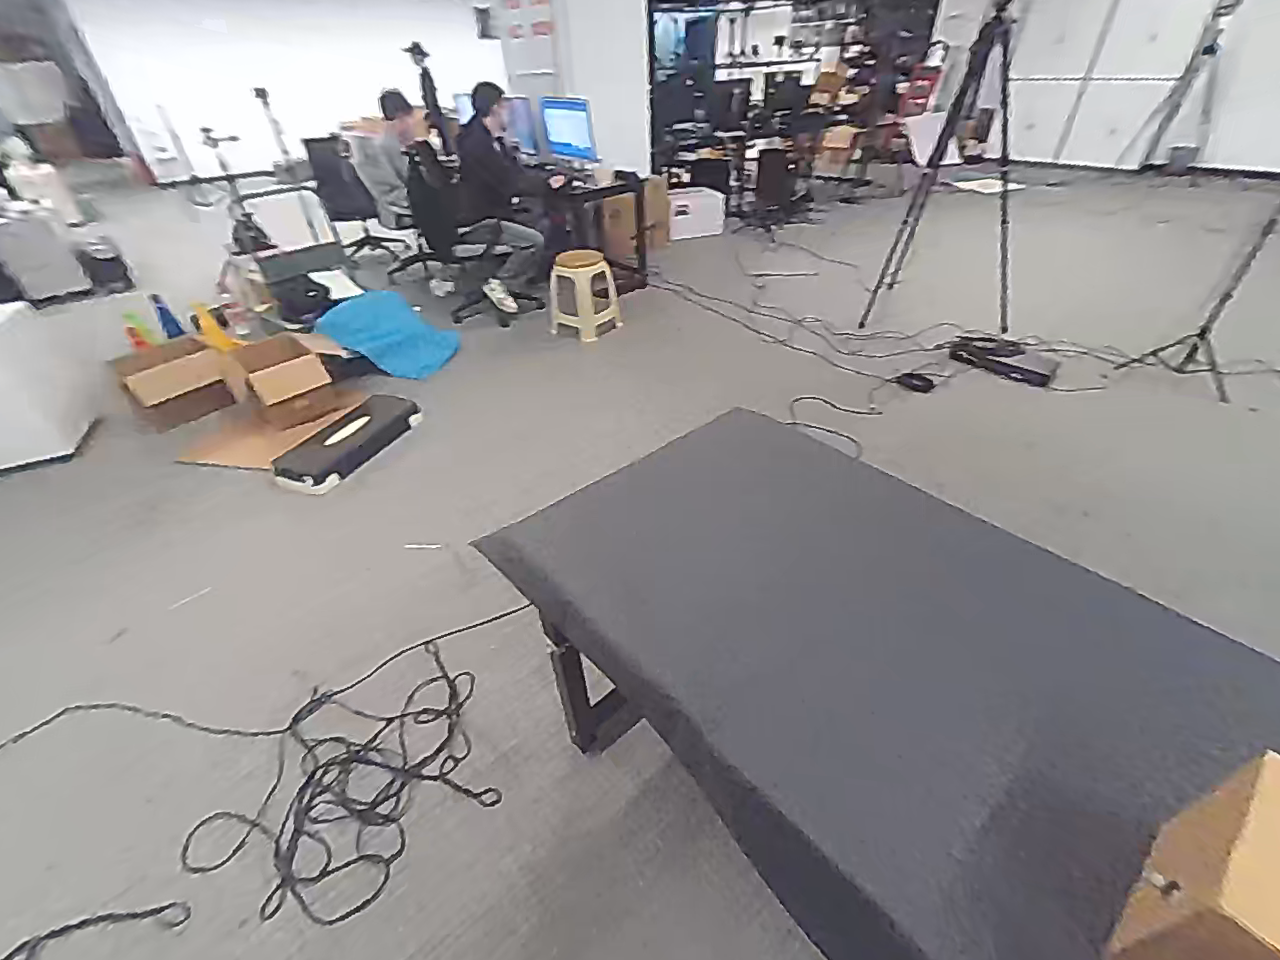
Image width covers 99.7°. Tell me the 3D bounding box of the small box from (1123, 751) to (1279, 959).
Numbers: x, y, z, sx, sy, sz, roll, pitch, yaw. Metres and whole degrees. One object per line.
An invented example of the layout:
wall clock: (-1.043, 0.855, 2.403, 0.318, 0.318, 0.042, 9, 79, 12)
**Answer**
small box: (0.523, 0.363, 0.413, 0.179, 0.176, 0.168, -27, 45, -30)
